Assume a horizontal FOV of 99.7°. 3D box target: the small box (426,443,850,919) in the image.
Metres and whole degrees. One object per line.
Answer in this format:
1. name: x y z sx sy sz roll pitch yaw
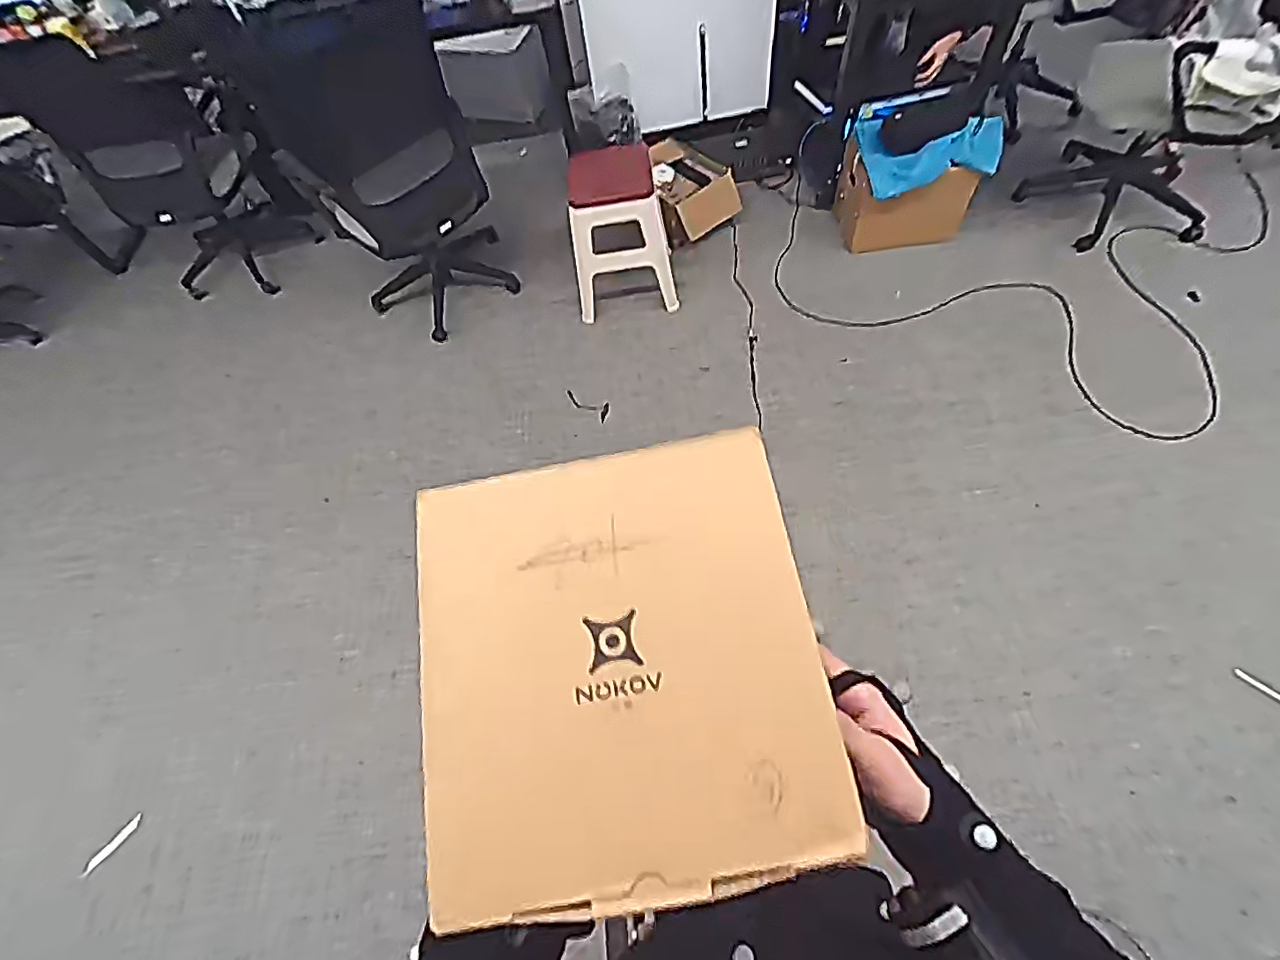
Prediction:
1. small box: -0.005 0.102 0.312 0.168 0.176 0.179 -11 70 0
